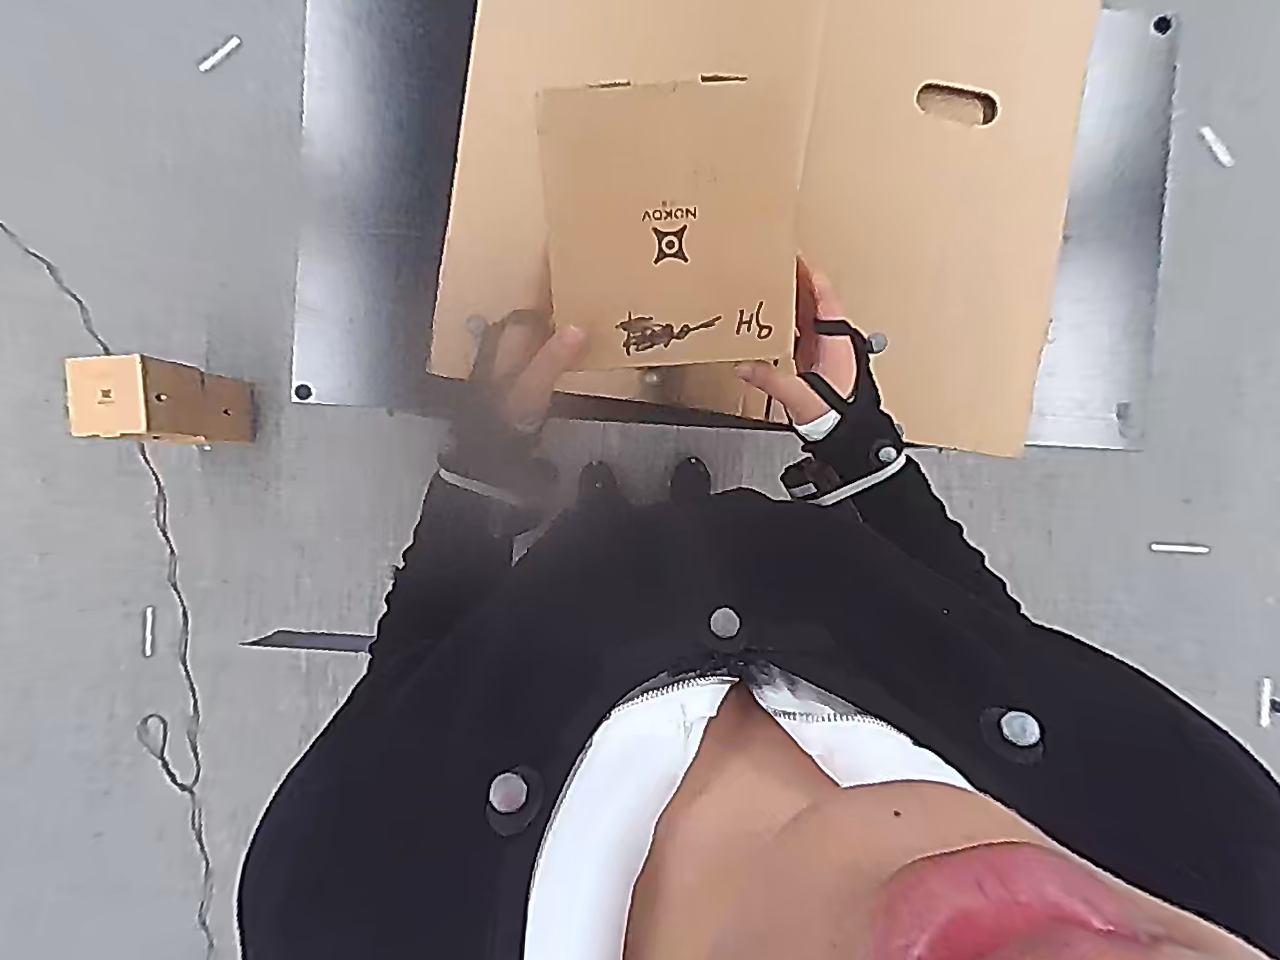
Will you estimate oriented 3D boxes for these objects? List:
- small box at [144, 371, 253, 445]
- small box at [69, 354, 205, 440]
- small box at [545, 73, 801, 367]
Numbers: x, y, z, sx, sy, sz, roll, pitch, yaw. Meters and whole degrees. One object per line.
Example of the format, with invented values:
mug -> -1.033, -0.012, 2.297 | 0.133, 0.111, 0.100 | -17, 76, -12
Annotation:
small box -> -1.156, -0.184, 1.422 | 0.168, 0.176, 0.179 | -1, 92, 1
small box -> -1.160, -0.186, 1.260 | 0.168, 0.176, 0.179 | -4, 90, 0
small box -> 0.023, -0.183, 0.434 | 0.168, 0.176, 0.179 | -3, 103, 1
